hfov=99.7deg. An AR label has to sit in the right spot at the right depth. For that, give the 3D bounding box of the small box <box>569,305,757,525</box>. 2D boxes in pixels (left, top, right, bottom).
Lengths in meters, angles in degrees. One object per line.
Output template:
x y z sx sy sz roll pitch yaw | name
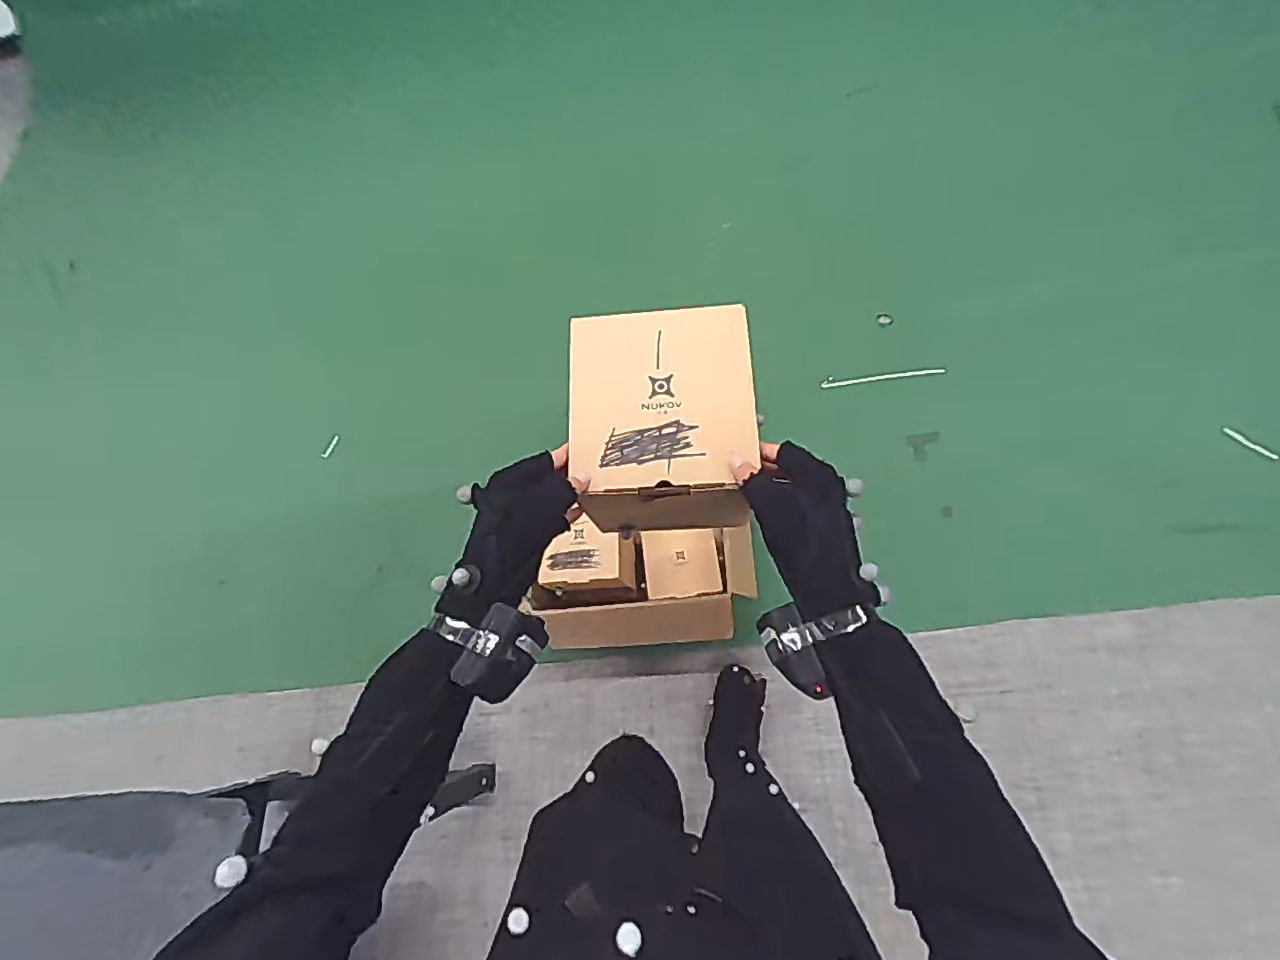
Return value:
0.027 -0.053 0.560 0.168 0.176 0.179 -3 72 5 | small box
